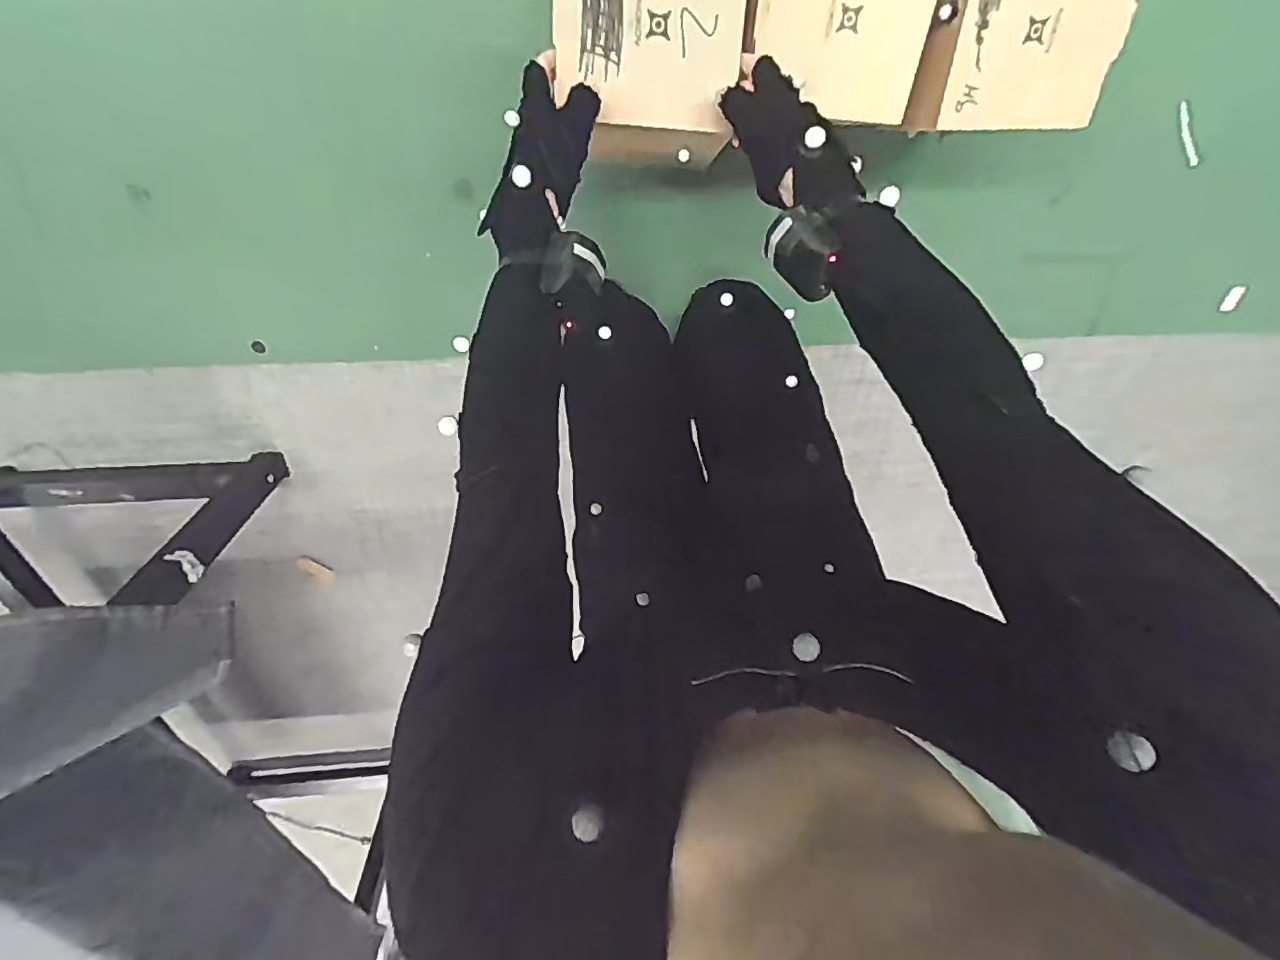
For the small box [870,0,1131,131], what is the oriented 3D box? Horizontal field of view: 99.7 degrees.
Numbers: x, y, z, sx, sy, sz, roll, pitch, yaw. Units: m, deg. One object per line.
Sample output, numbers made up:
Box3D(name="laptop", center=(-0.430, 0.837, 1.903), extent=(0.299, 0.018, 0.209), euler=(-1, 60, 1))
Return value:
Box3D(name="small box", center=(0.395, -0.496, 0.610), extent=(0.179, 0.176, 0.168), euler=(-2, 124, -3))
